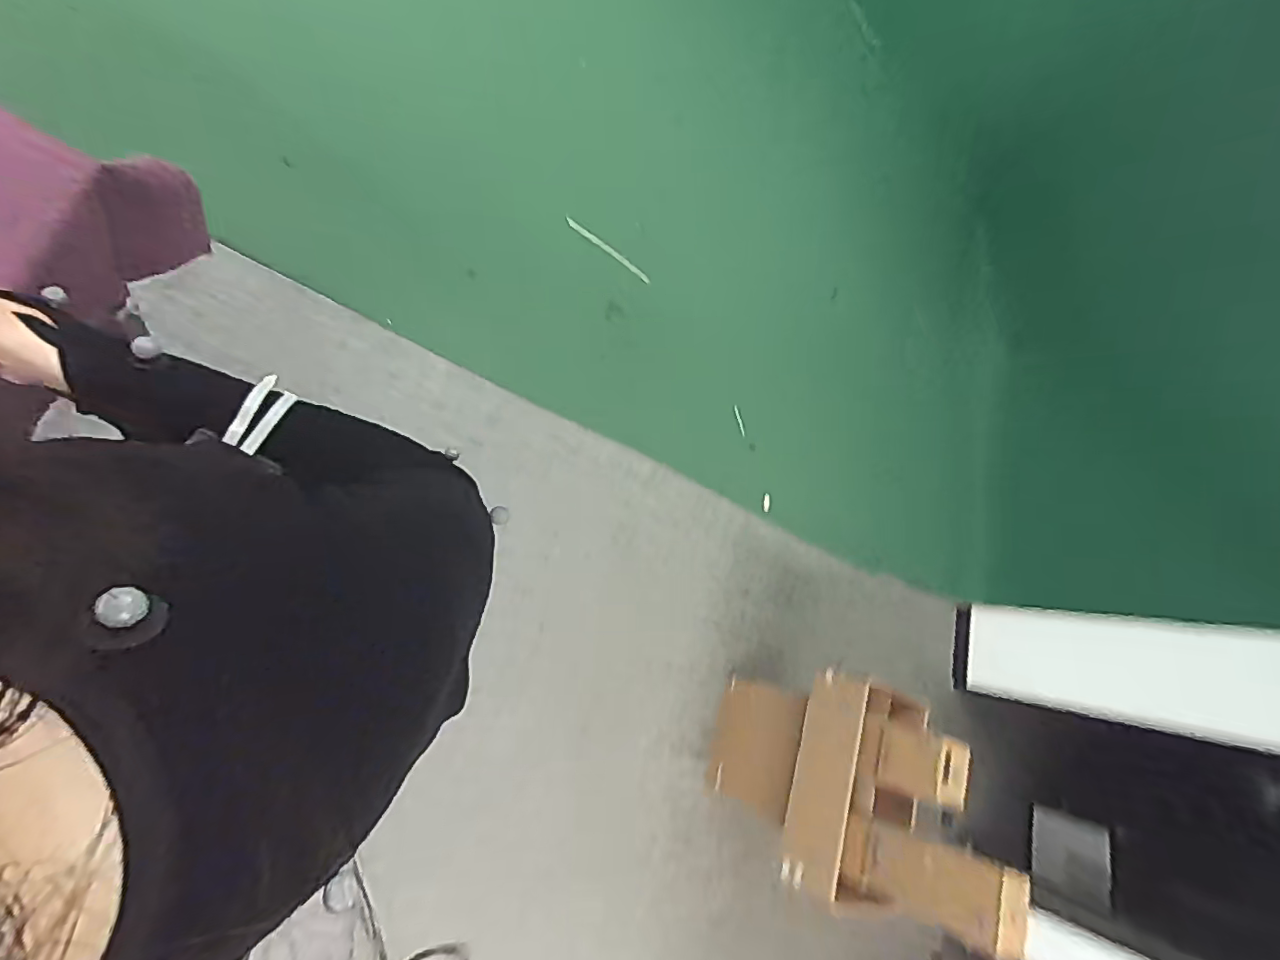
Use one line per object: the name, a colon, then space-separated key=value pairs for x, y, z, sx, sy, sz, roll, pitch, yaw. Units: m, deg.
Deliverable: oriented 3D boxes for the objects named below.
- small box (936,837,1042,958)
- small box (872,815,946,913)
small box: x=0.857 y=1.024 z=1.333 sx=0.168 sy=0.176 sz=0.179 roll=33 pitch=66 yaw=-28
small box: x=0.765 y=1.041 z=1.469 sx=0.179 sy=0.176 sz=0.168 roll=31 pitch=67 yaw=-28
